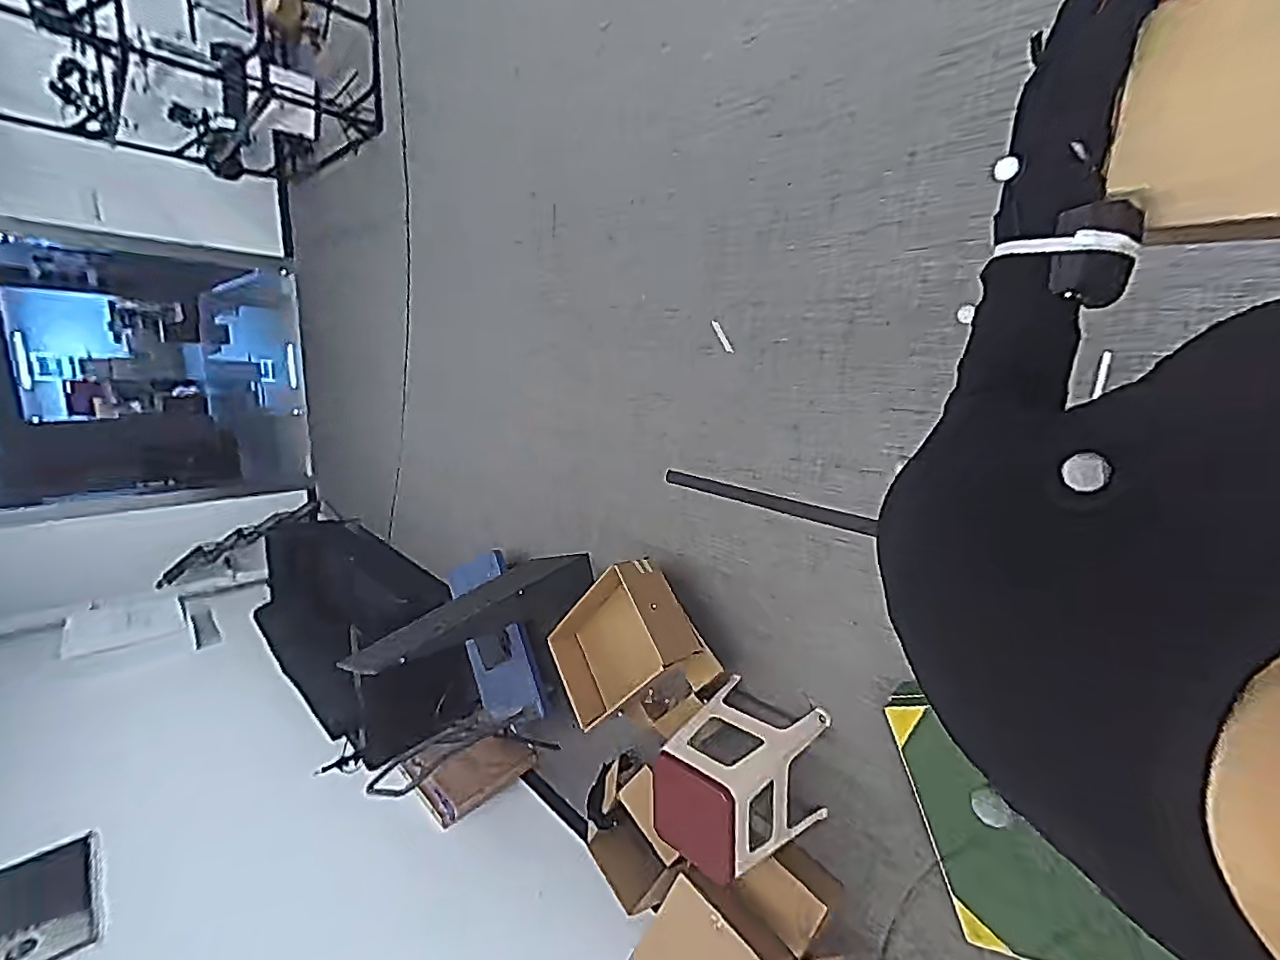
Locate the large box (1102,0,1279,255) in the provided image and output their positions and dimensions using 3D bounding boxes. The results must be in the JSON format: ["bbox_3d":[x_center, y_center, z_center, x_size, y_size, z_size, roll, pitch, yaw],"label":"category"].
[{"bbox_3d":[0.601,-0.338,0.356,0.408,0.320,0.320,14,115,41],"label":"large box"}]
